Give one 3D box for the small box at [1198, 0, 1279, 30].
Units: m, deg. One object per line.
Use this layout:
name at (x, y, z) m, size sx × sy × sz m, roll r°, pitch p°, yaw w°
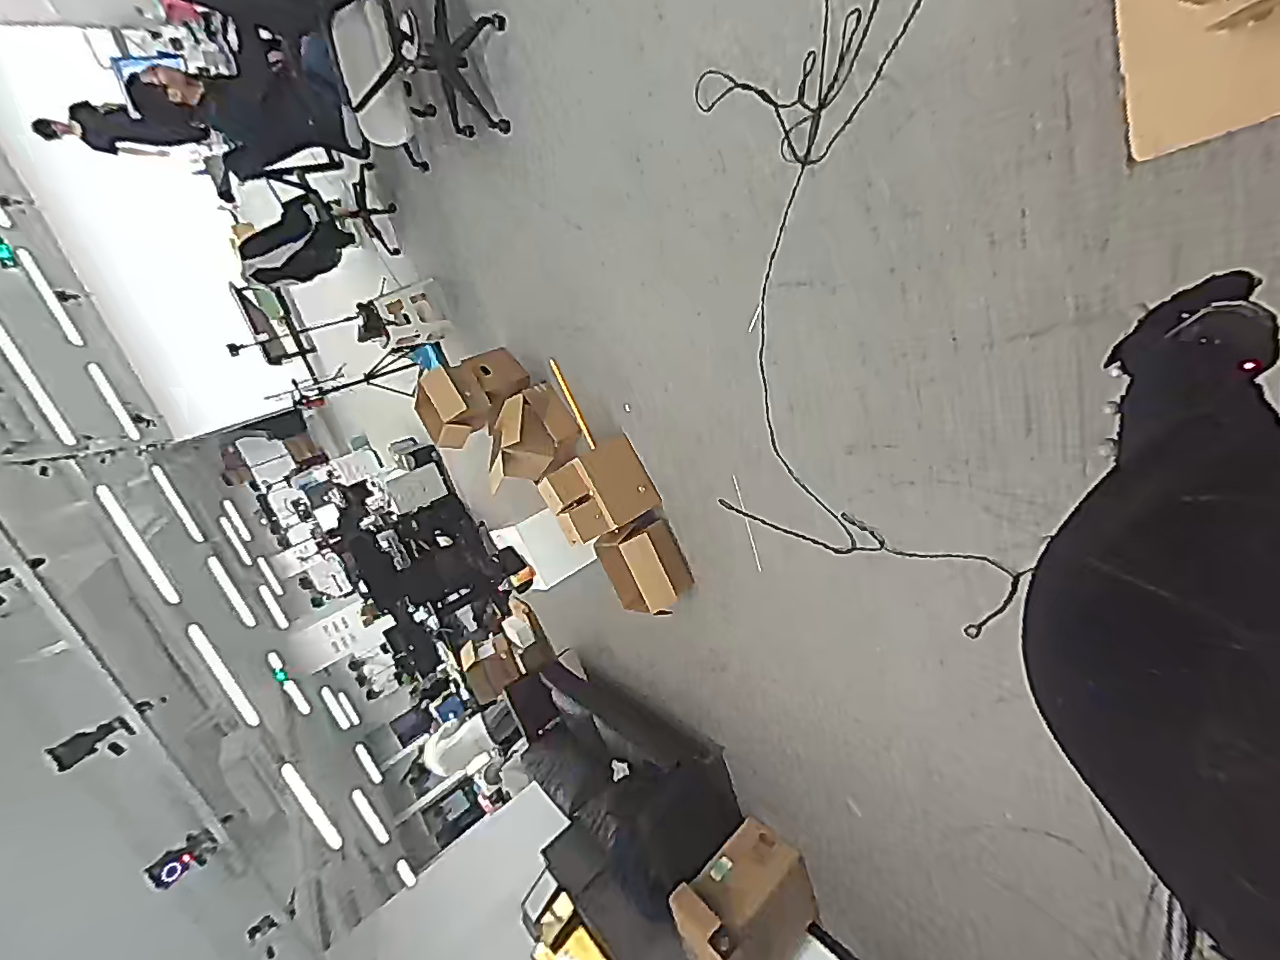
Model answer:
small box at (0.906, -0.775, 0.751) m, size 0.168 × 0.176 × 0.179 m, roll 0°, pitch 115°, yaw 56°
